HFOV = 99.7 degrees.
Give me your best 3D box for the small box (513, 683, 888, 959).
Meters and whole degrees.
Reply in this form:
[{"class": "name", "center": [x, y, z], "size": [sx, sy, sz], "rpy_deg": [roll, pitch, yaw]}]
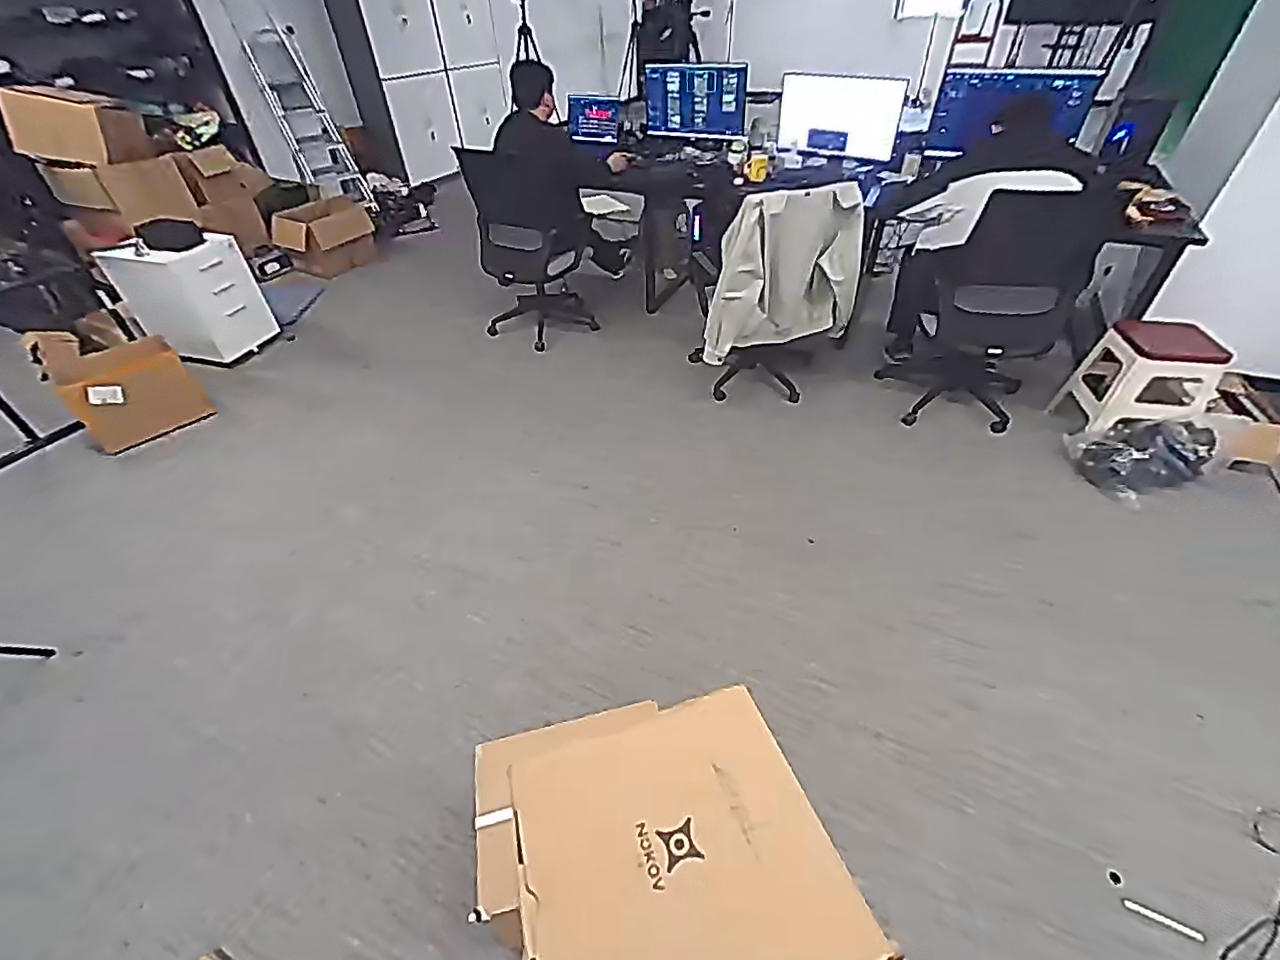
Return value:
[{"class": "small box", "center": [0.027, 0.277, 0.361], "size": [0.179, 0.176, 0.168], "rpy_deg": [-14, 37, -14]}]
